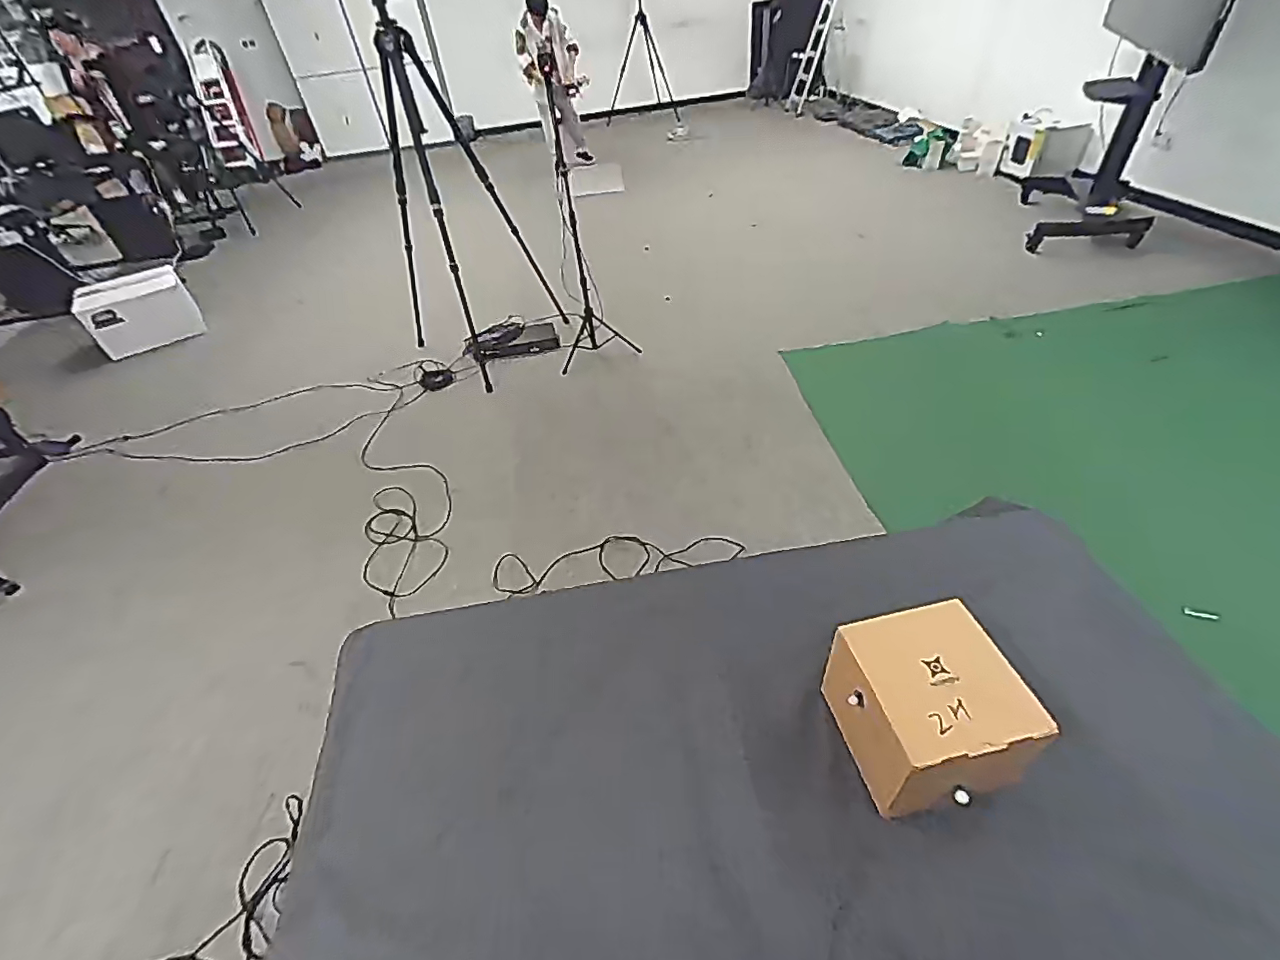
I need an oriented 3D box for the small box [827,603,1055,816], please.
[{"bbox_3d":[0.354,0.288,0.681,0.168,0.176,0.179,-12,43,-3],"label":"small box"}]
